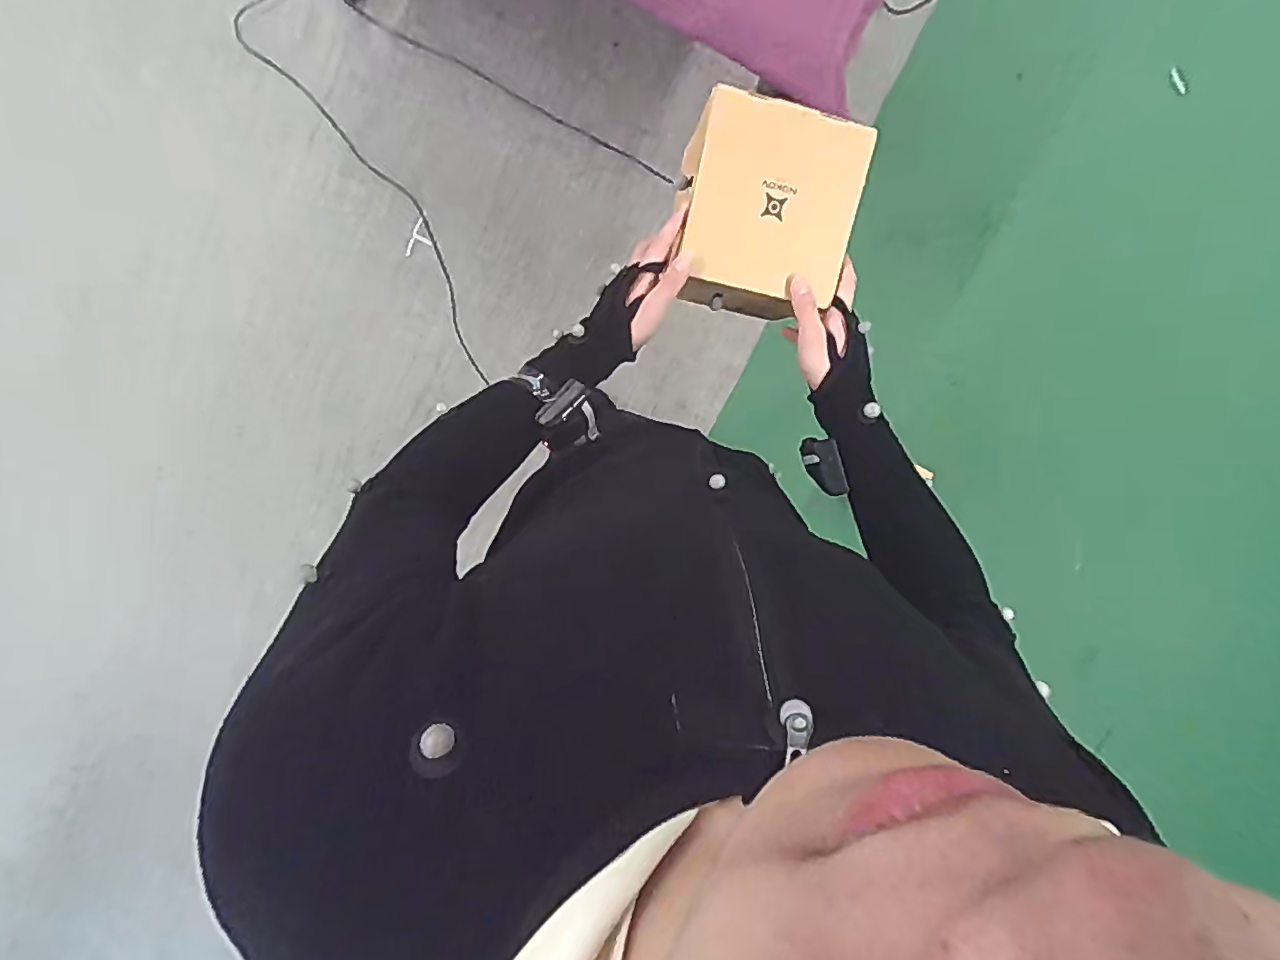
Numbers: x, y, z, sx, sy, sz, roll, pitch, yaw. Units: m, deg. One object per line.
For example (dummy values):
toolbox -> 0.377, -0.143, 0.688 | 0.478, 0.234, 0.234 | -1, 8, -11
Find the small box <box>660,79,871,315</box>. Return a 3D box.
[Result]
small box -> 0.121, -0.291, 0.603 | 0.168, 0.176, 0.179 | 10, 100, -6

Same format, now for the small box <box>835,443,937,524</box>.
small box -> 0.700, 0.002, 1.558 | 0.179, 0.176, 0.168 | 26, 98, -4
